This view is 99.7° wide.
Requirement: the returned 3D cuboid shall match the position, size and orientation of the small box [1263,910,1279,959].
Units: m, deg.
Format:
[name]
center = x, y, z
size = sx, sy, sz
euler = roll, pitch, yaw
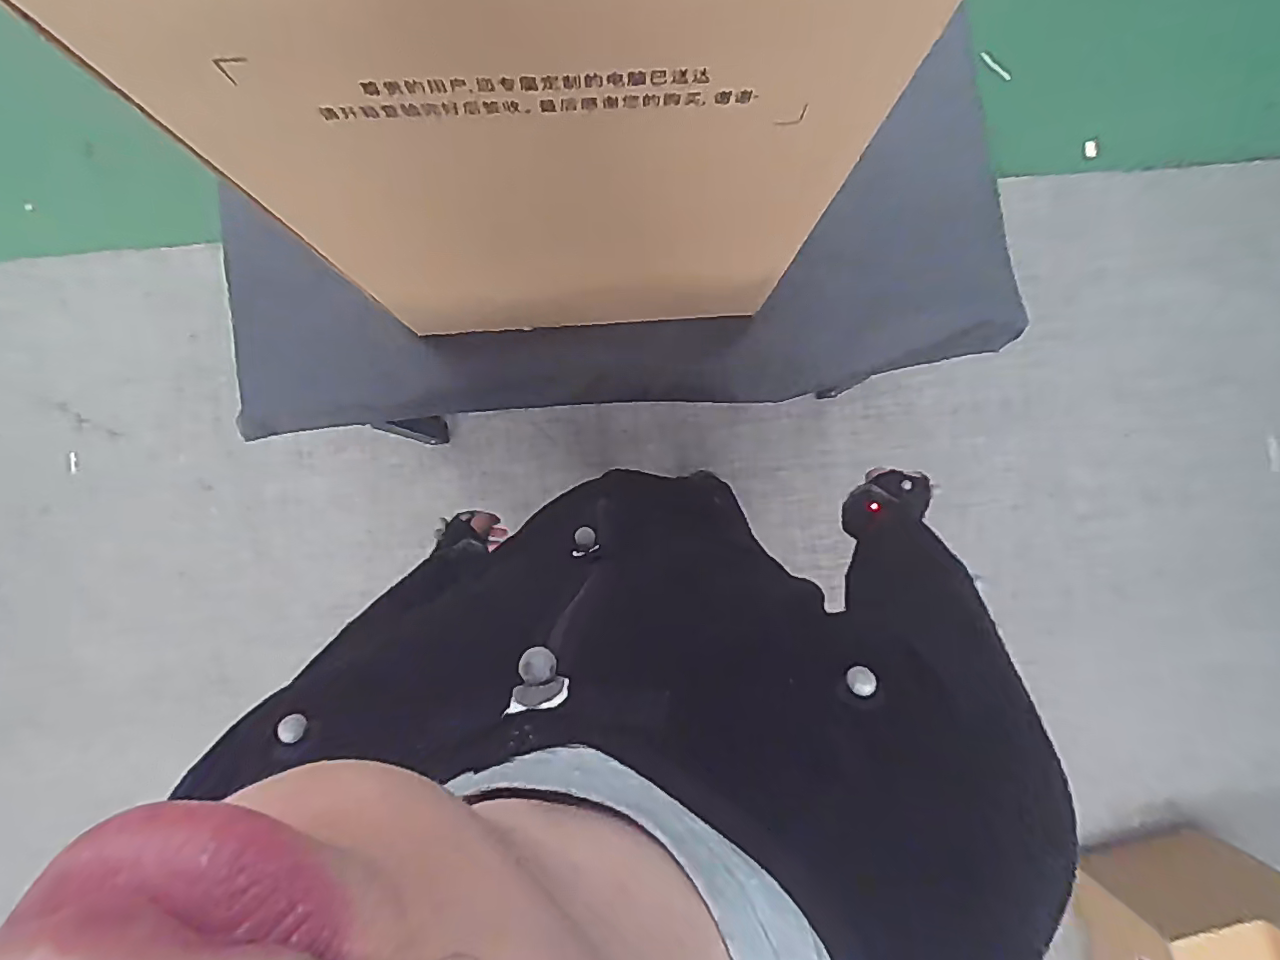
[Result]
[small box]
center = 1.506, 1.050, 1.142
size = 0.168, 0.176, 0.179
euler = -11, 84, -1
